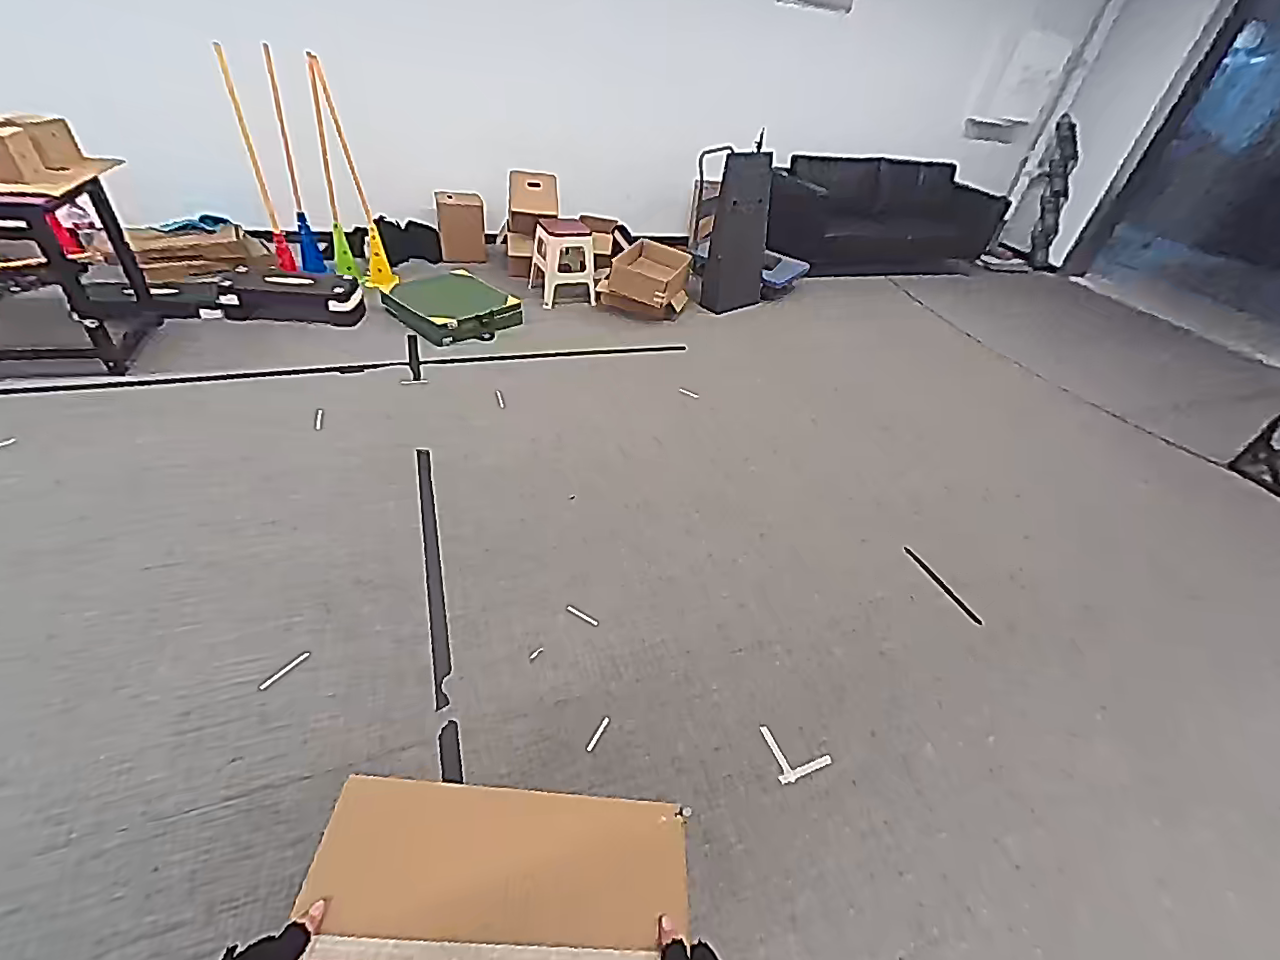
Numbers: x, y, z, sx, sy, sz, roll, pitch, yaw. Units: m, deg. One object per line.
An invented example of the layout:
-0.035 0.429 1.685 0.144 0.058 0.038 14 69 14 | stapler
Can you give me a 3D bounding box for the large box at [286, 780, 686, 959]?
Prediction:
-0.177 0.595 0.637 0.408 0.320 0.320 10 39 -8 | large box
